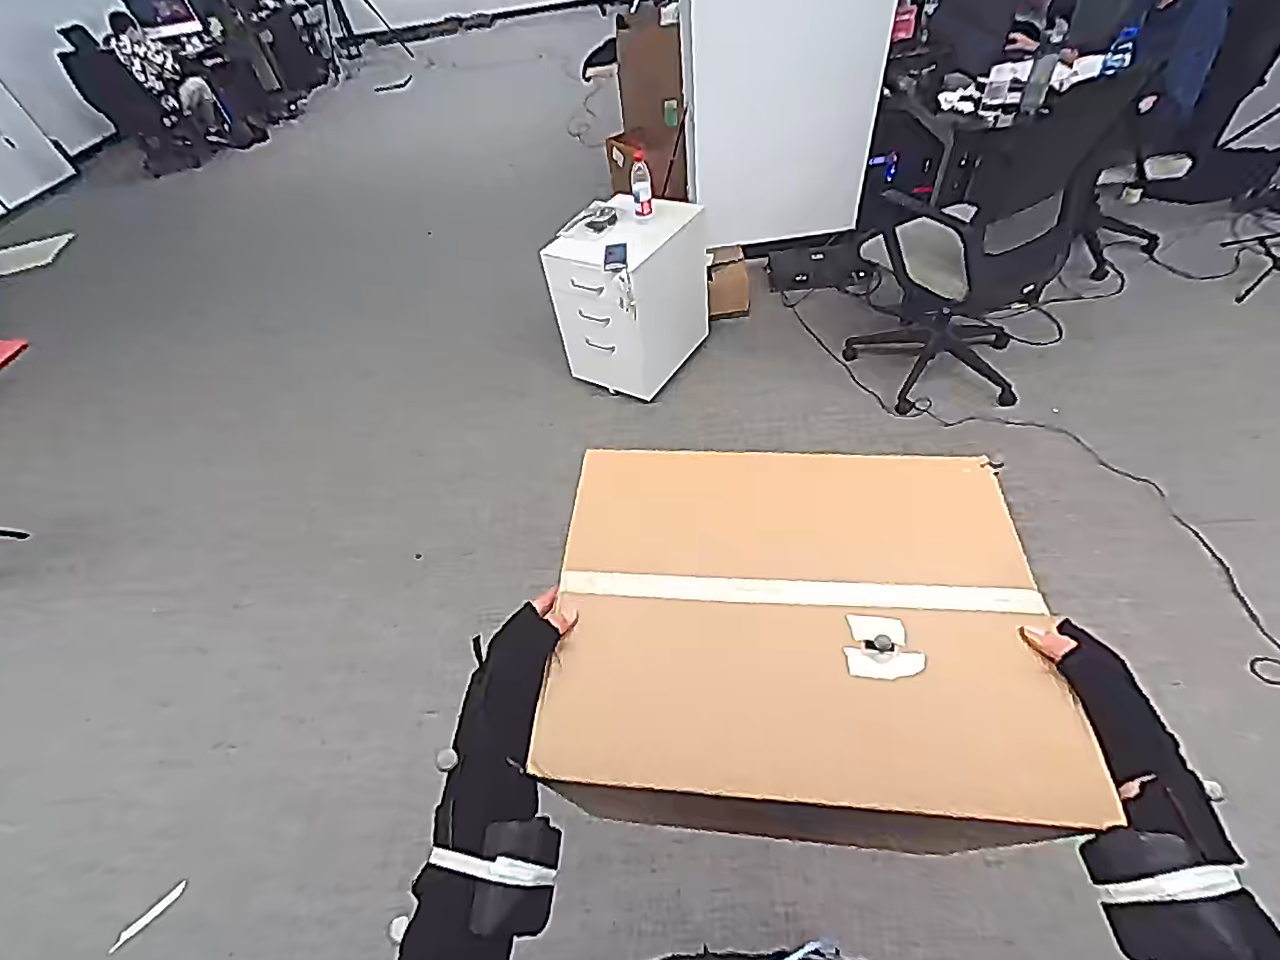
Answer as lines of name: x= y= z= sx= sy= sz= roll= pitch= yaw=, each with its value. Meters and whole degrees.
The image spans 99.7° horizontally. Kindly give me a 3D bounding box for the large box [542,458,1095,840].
large box: x=0.140 y=0.191 z=0.598 sx=0.408 sy=0.320 sz=0.320 roll=2 pitch=54 yaw=6
